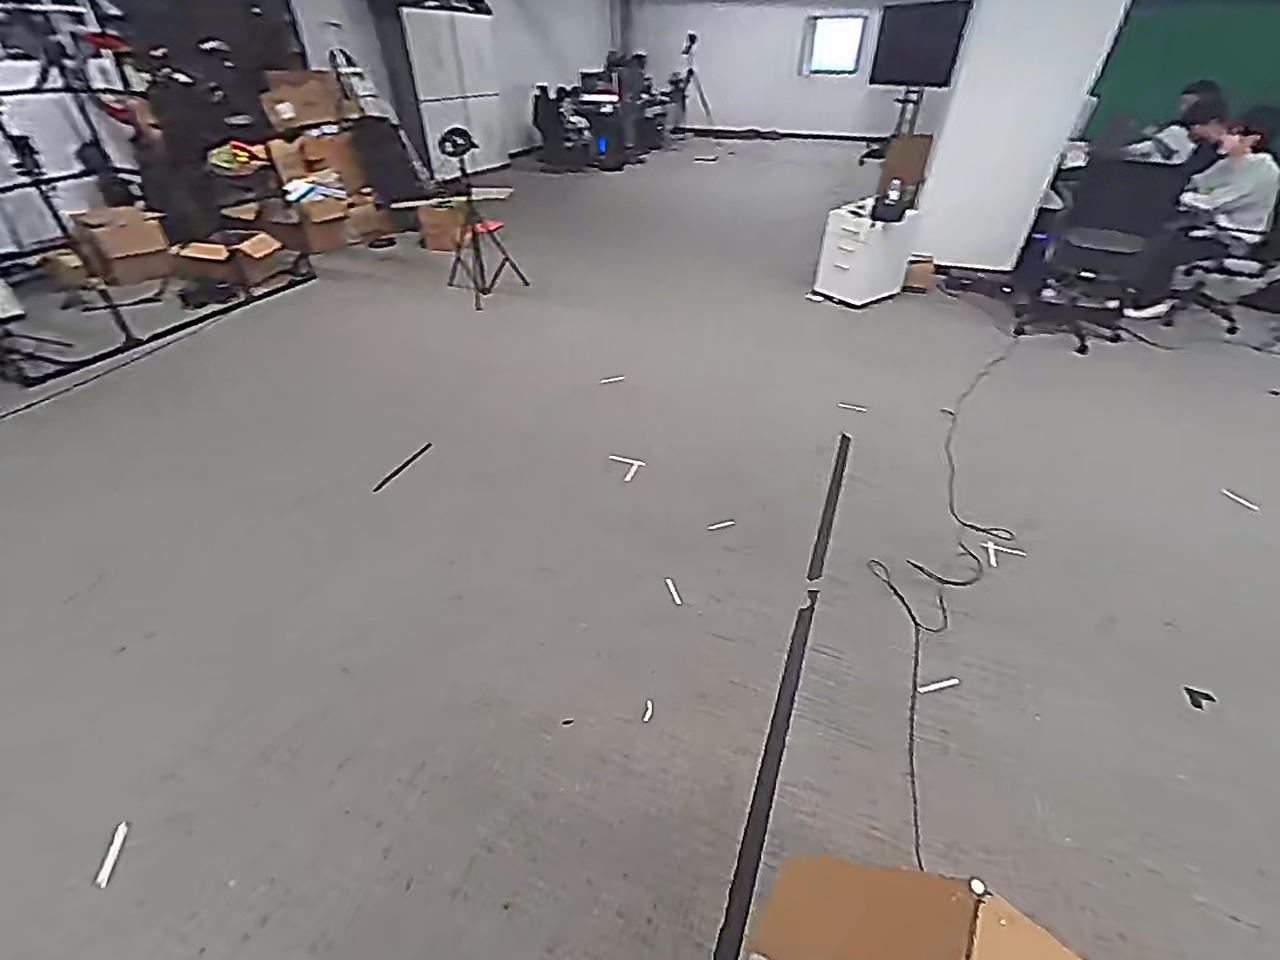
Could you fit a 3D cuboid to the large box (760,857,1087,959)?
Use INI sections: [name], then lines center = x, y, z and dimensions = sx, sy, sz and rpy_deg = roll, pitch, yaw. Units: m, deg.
[large box]
center = 0.364, 0.723, 0.650
dimensions = 0.320, 0.408, 0.320
rpy_deg = 37, 56, 4
